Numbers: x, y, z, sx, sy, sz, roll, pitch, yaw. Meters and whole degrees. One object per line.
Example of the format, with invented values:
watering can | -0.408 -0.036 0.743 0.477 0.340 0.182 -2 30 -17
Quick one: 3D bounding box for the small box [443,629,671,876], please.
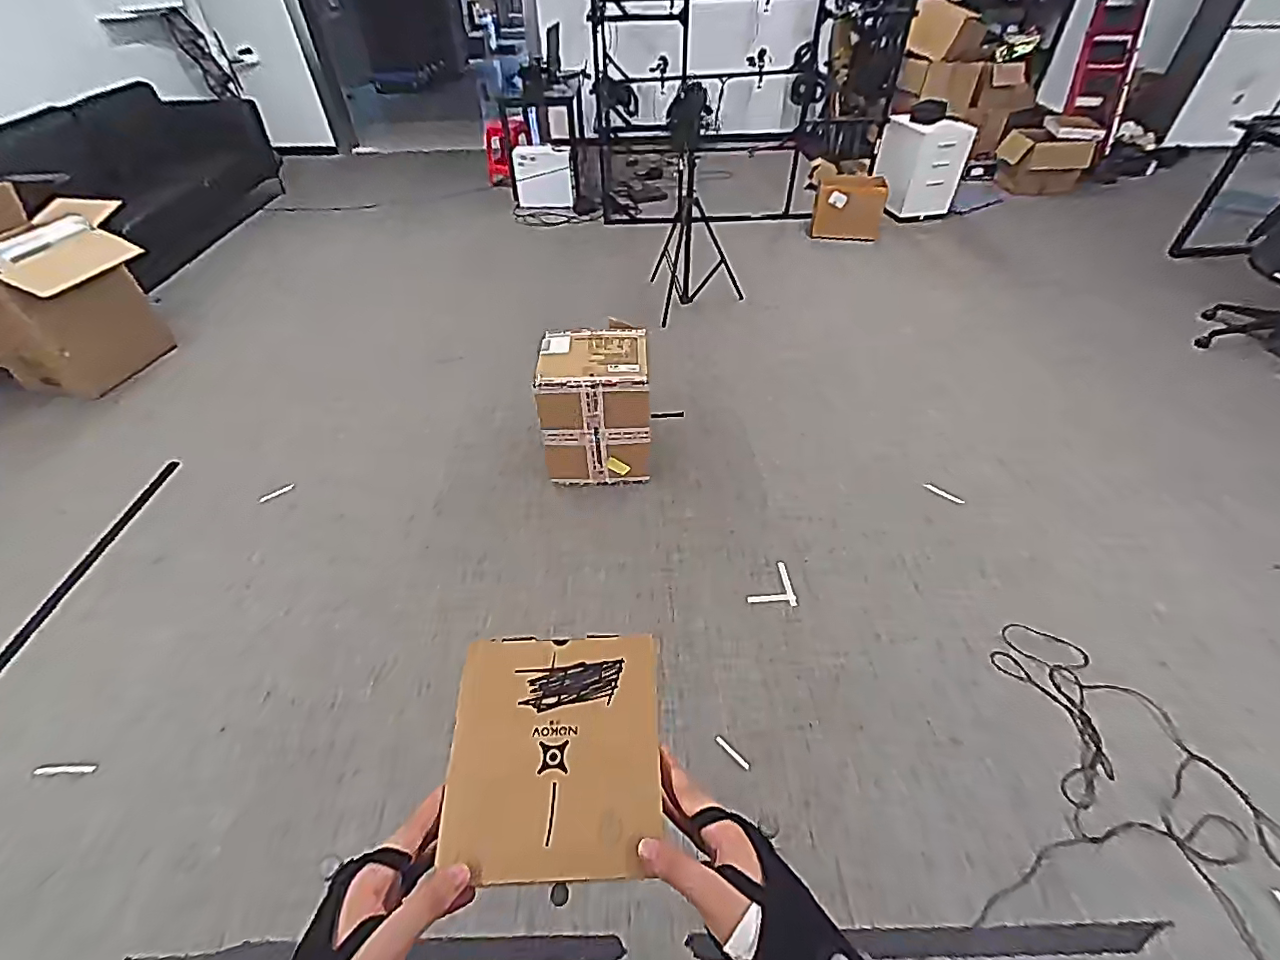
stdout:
small box | -0.062 0.253 0.498 0.168 0.176 0.179 -2 54 -1
